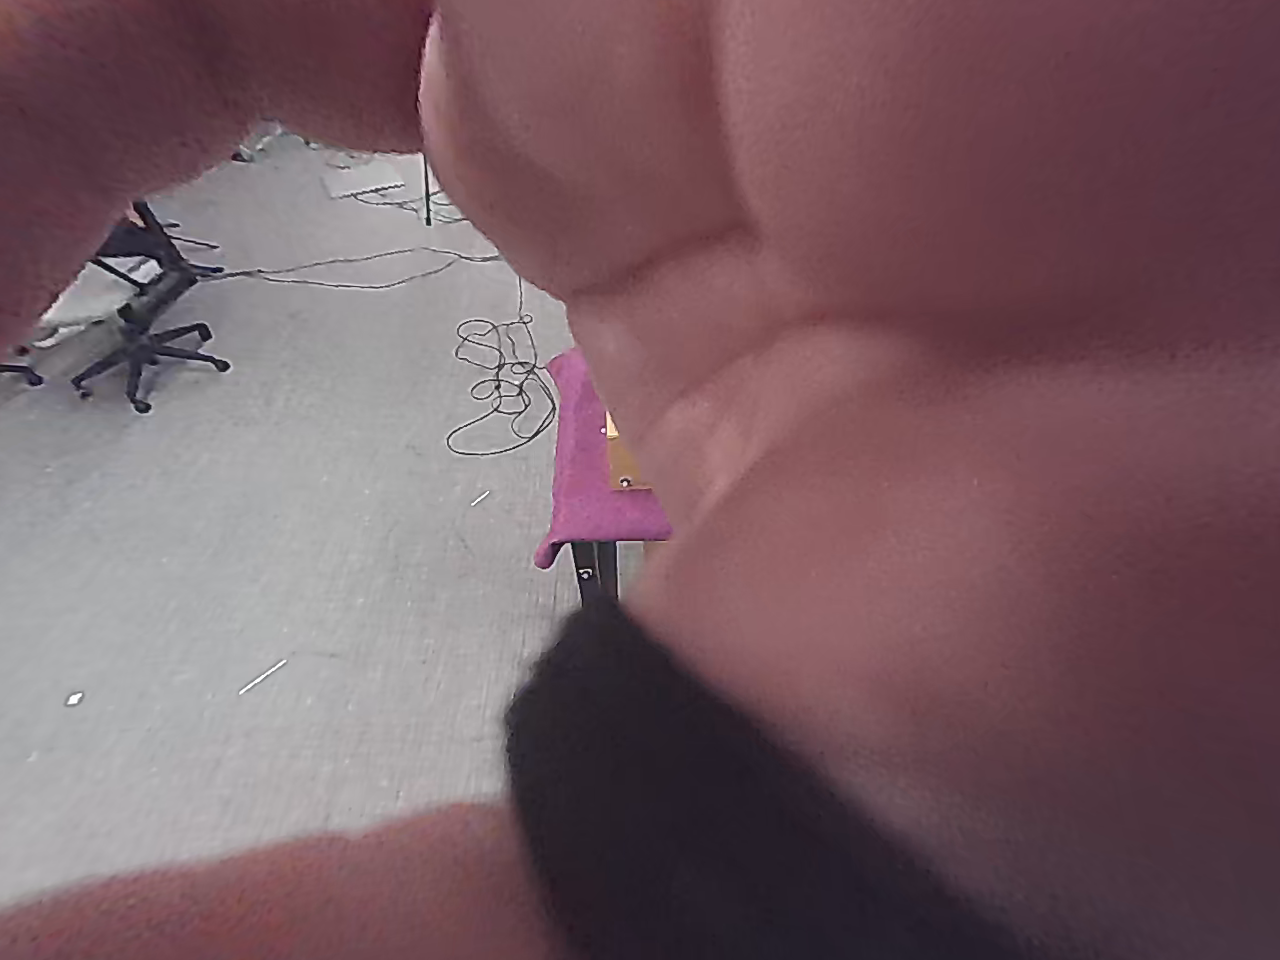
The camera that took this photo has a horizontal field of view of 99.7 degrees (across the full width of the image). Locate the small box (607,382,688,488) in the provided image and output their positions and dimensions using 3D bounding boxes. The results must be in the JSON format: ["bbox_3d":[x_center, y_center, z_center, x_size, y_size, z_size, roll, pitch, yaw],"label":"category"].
[{"bbox_3d":[0.015,-0.094,1.191,0.168,0.176,0.179,-2,47,-2],"label":"small box"}]
